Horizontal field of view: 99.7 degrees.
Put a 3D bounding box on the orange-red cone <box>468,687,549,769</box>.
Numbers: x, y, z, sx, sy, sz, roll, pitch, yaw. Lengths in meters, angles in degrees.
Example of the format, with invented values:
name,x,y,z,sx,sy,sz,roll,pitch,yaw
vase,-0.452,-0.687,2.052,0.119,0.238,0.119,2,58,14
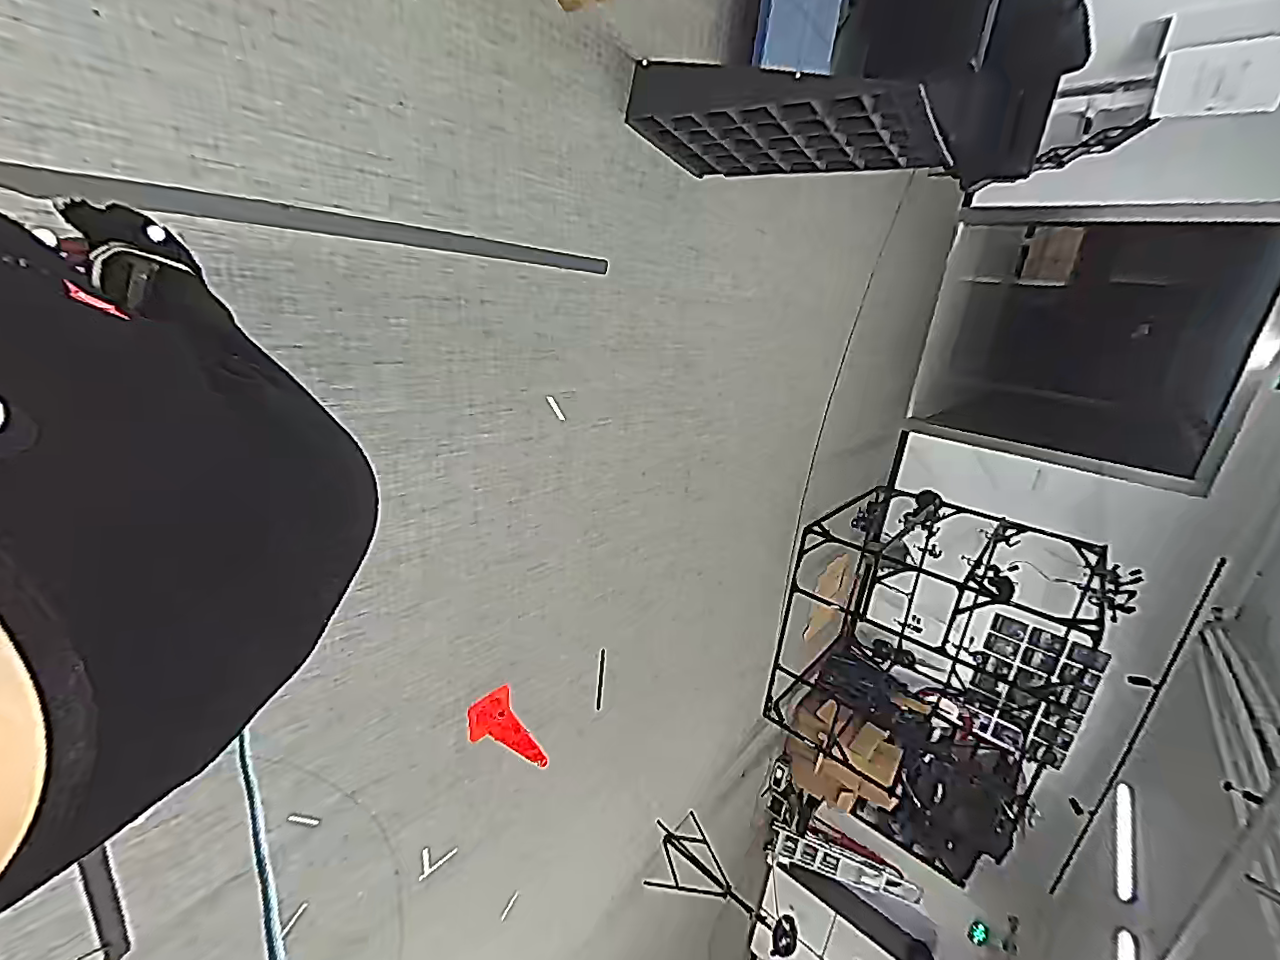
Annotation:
name,x,y,z,sx,sy,sz,roll,pitch,yaw
orange-red cone,-0.488,1.017,2.125,0.198,0.360,0.199,-21,121,-47
